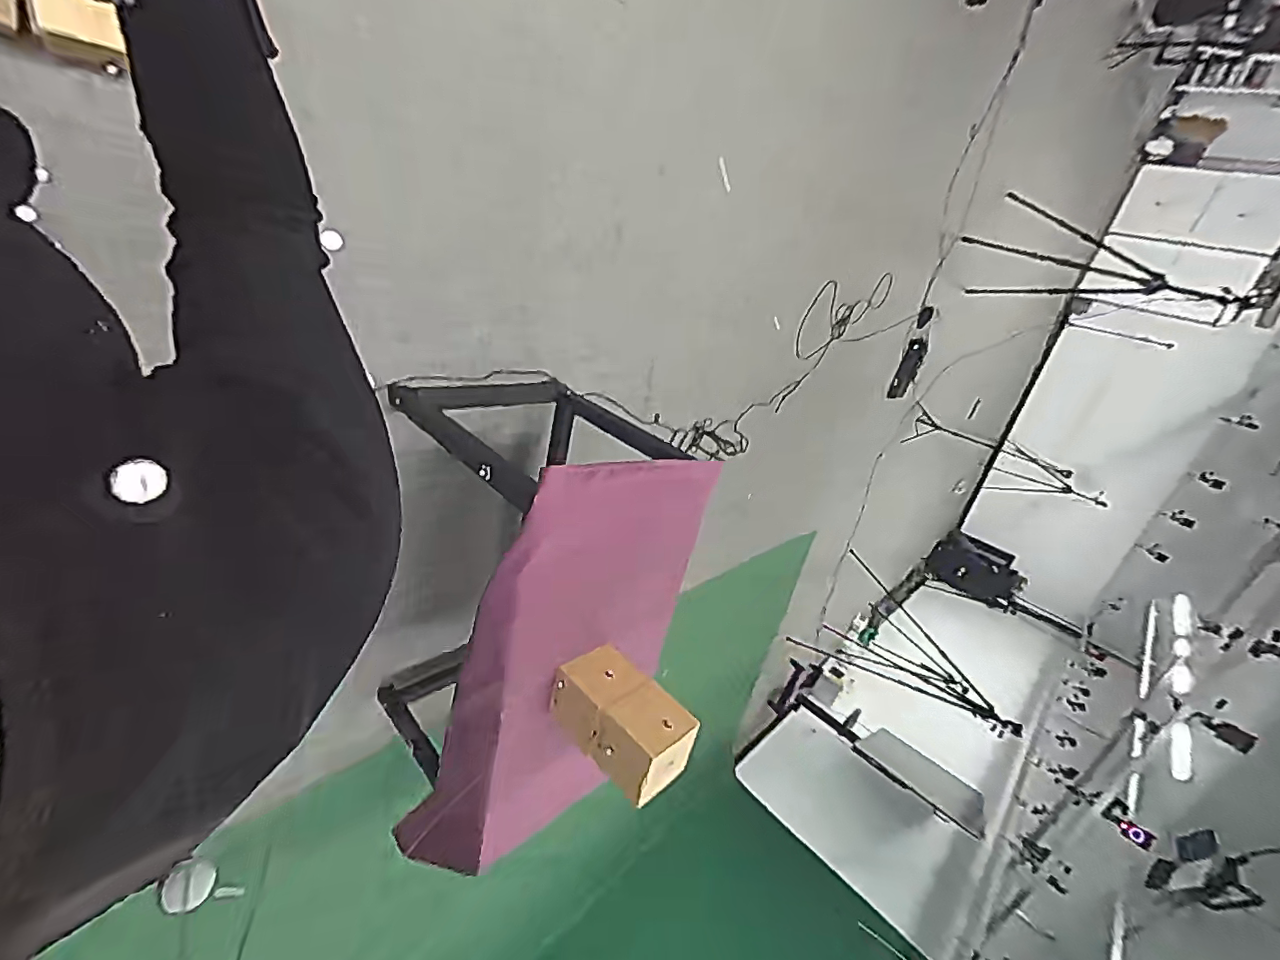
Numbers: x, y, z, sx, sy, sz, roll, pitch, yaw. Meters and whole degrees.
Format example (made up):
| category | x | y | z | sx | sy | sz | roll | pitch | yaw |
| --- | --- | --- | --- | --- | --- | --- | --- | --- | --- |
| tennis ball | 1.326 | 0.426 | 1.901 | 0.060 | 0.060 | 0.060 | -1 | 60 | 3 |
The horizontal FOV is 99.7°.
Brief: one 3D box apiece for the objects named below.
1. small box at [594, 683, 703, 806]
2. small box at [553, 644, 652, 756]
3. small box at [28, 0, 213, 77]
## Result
| category | x | y | z | sx | sy | sz | roll | pitch | yaw |
| --- | --- | --- | --- | --- | --- | --- | --- | --- | --- |
| small box | 0.018 | 0.627 | 1.308 | 0.179 | 0.176 | 0.168 | -11 | 123 | -45 |
| small box | -0.102 | 0.561 | 1.399 | 0.179 | 0.176 | 0.168 | -11 | 123 | -46 |
| small box | -0.723 | -0.676 | 0.743 | 0.179 | 0.176 | 0.168 | -15 | 126 | -45 |
